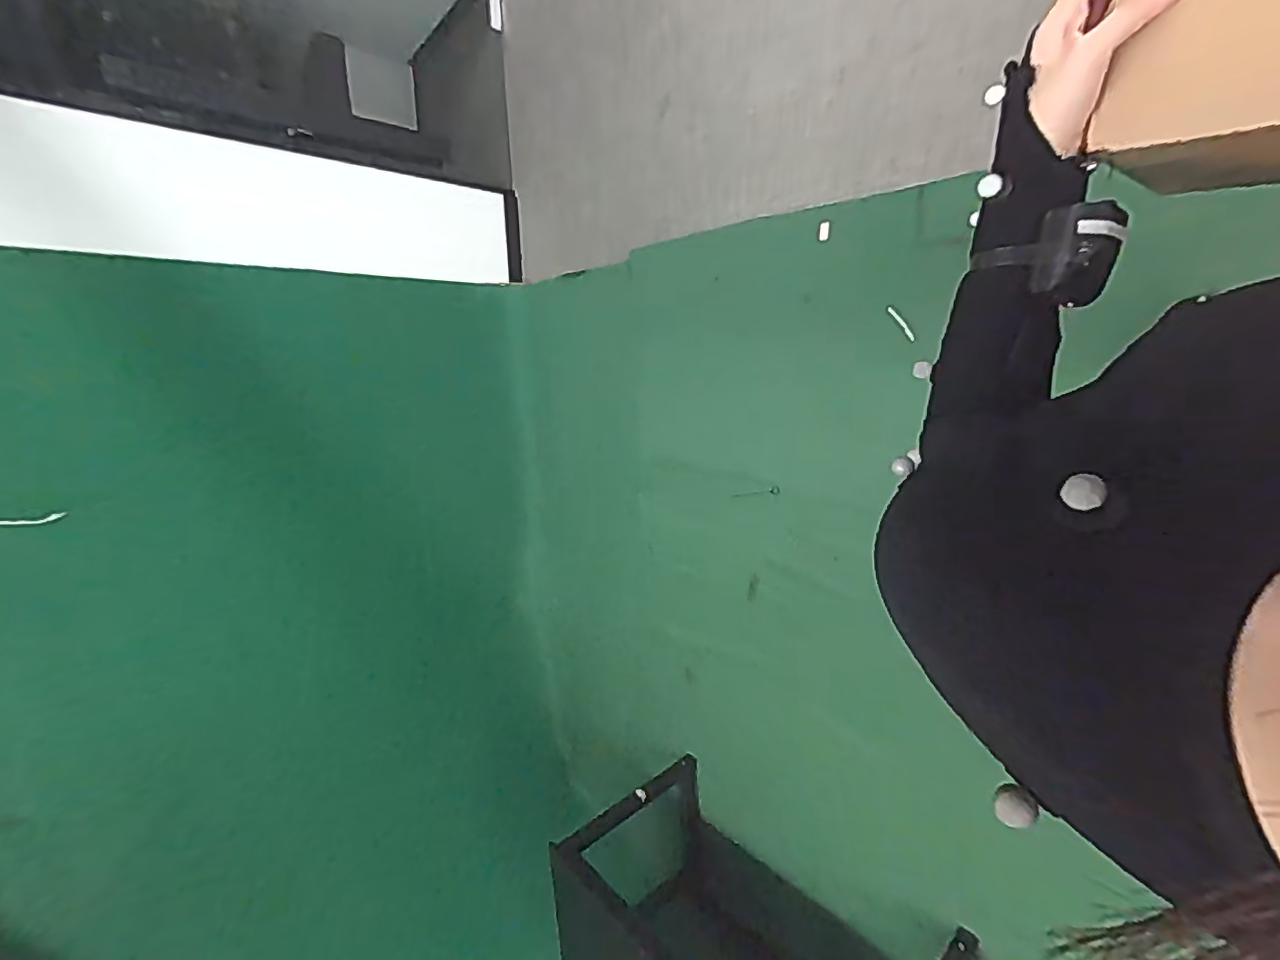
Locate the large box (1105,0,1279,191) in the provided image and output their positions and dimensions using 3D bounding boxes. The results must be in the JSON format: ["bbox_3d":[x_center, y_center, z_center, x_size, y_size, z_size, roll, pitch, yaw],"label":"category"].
[{"bbox_3d":[0.561,-0.375,0.291,0.408,0.320,0.320,17,117,45],"label":"large box"}]
